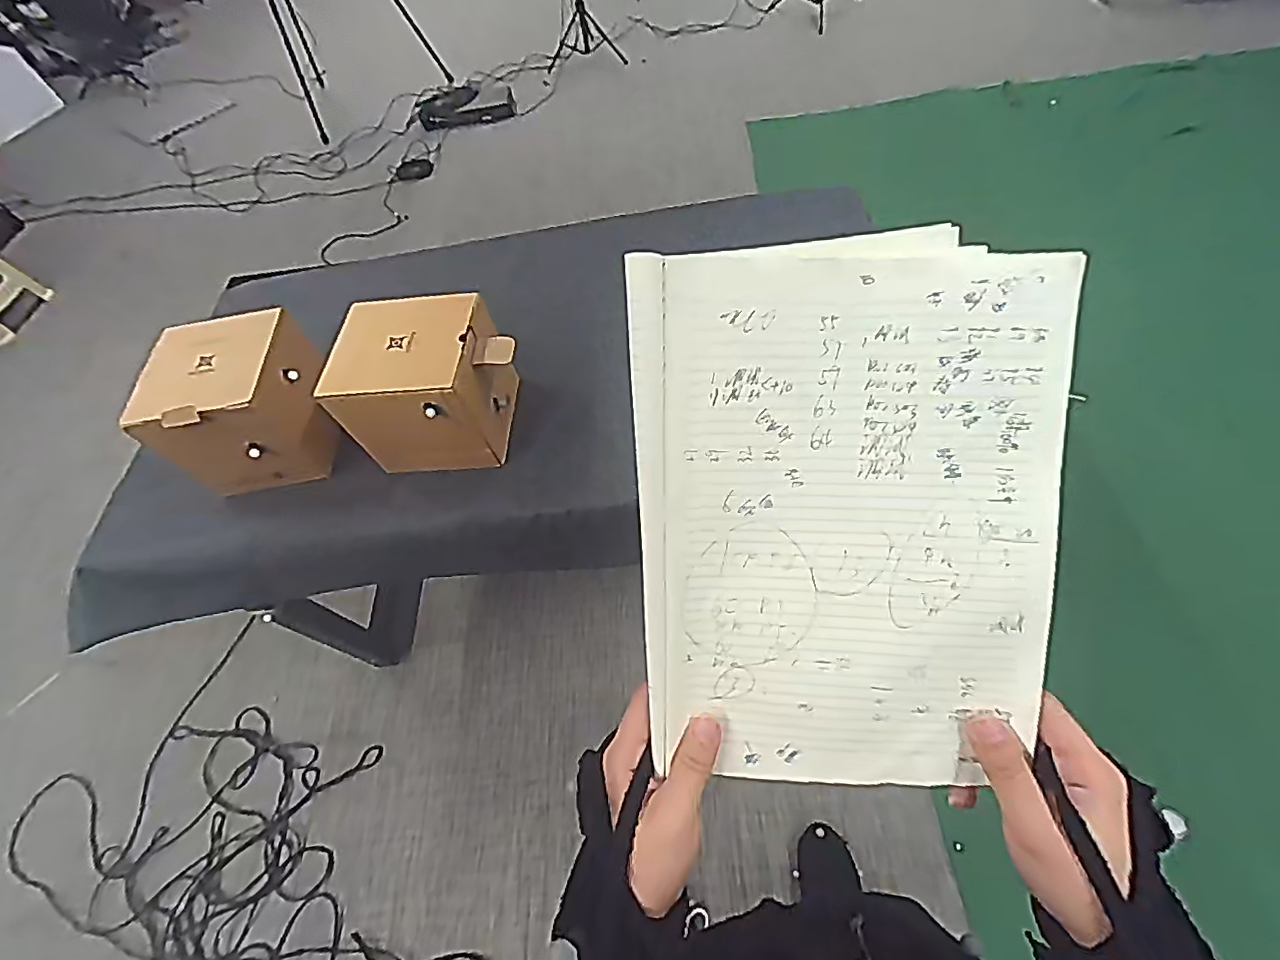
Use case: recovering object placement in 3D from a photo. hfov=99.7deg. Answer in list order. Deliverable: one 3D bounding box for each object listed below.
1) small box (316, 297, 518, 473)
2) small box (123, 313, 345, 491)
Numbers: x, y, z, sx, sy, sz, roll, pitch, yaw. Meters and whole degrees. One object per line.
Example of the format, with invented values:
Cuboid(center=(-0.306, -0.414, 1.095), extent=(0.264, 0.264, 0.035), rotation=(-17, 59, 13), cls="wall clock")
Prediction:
Cuboid(center=(-0.284, -0.121, 0.733), extent=(0.179, 0.176, 0.168), rotation=(-3, 57, 6), cls="small box")
Cuboid(center=(-0.541, -0.099, 0.757), extent=(0.168, 0.176, 0.179), rotation=(-10, 56, 1), cls="small box")
